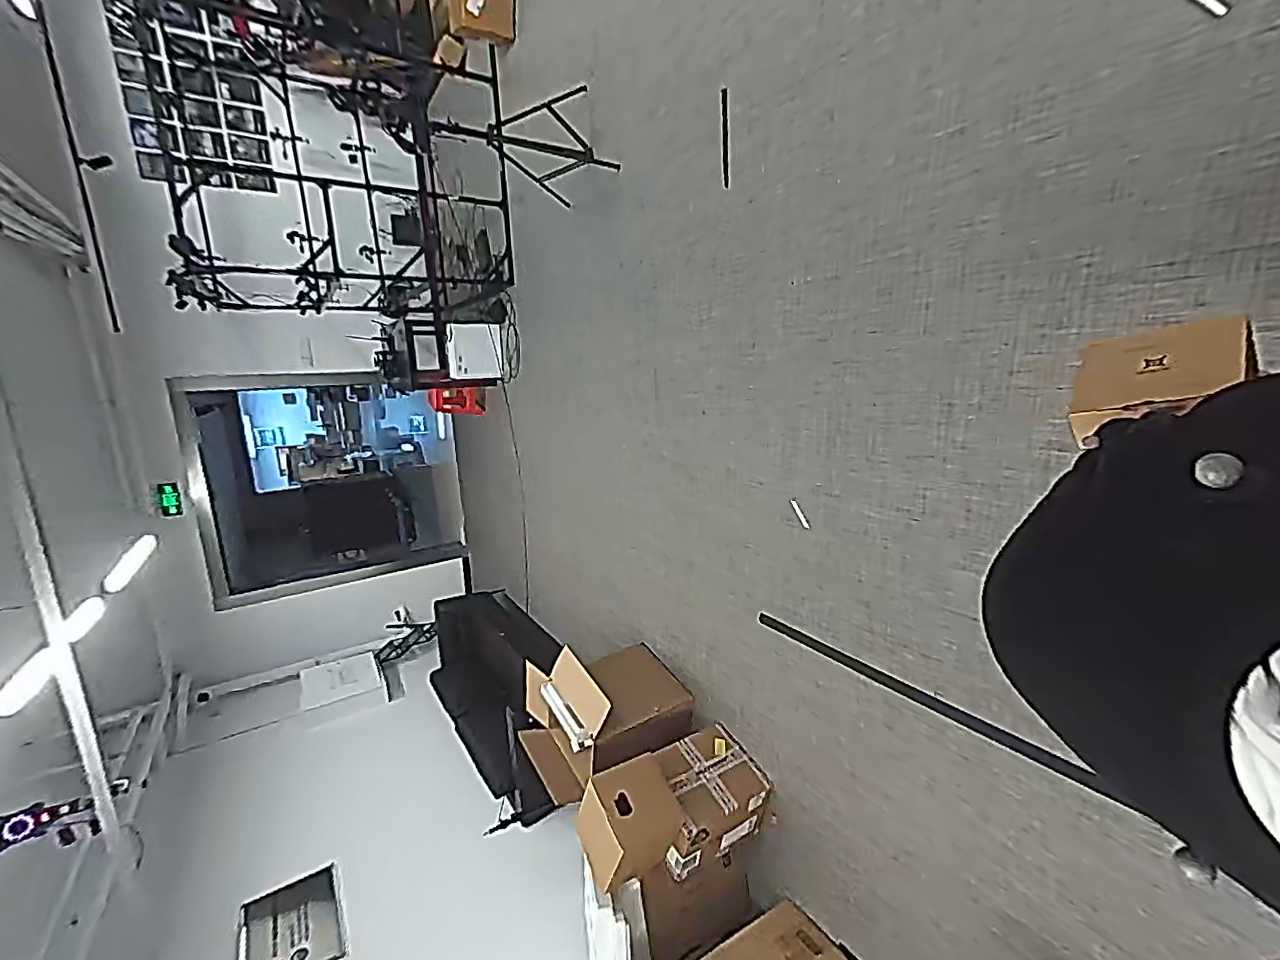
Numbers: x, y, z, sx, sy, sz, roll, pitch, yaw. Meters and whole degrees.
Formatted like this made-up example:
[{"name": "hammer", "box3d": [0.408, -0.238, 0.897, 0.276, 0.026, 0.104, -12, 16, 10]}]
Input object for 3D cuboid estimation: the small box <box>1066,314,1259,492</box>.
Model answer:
[{"name": "small box", "box3d": [0.731, -0.094, 0.755, 0.168, 0.179, 0.176, -5, 127, 52]}]
